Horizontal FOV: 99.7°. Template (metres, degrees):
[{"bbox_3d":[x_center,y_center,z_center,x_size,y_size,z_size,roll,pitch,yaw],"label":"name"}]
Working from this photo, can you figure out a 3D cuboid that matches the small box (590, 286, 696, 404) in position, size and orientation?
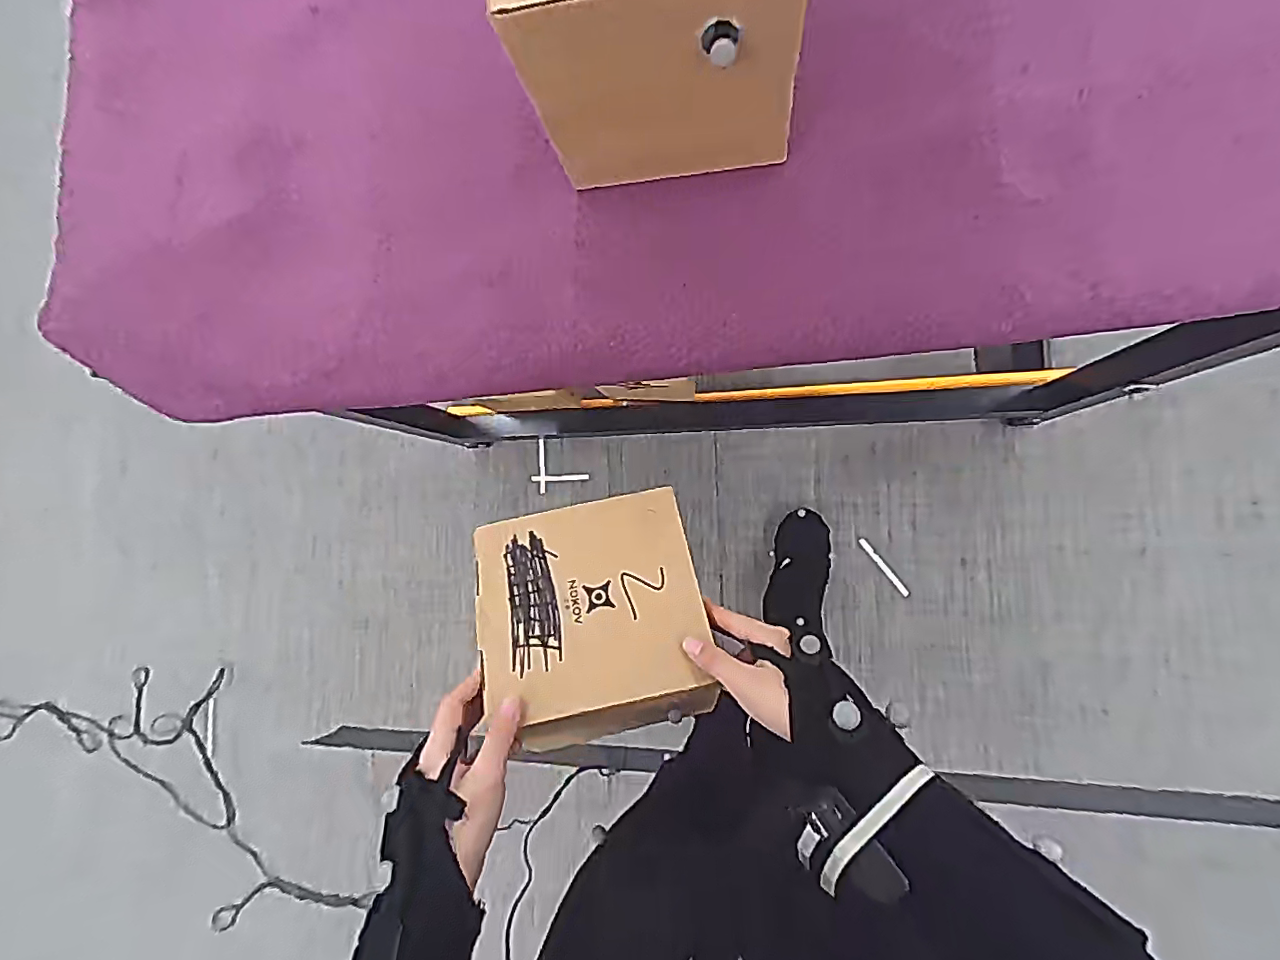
[{"bbox_3d":[0.013,-0.240,0.999,0.168,0.176,0.179,4,87,10],"label":"small box"}]

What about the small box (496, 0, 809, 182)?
[{"bbox_3d":[0.017,-0.339,0.373,0.179,0.176,0.168,-2,85,10],"label":"small box"}]
